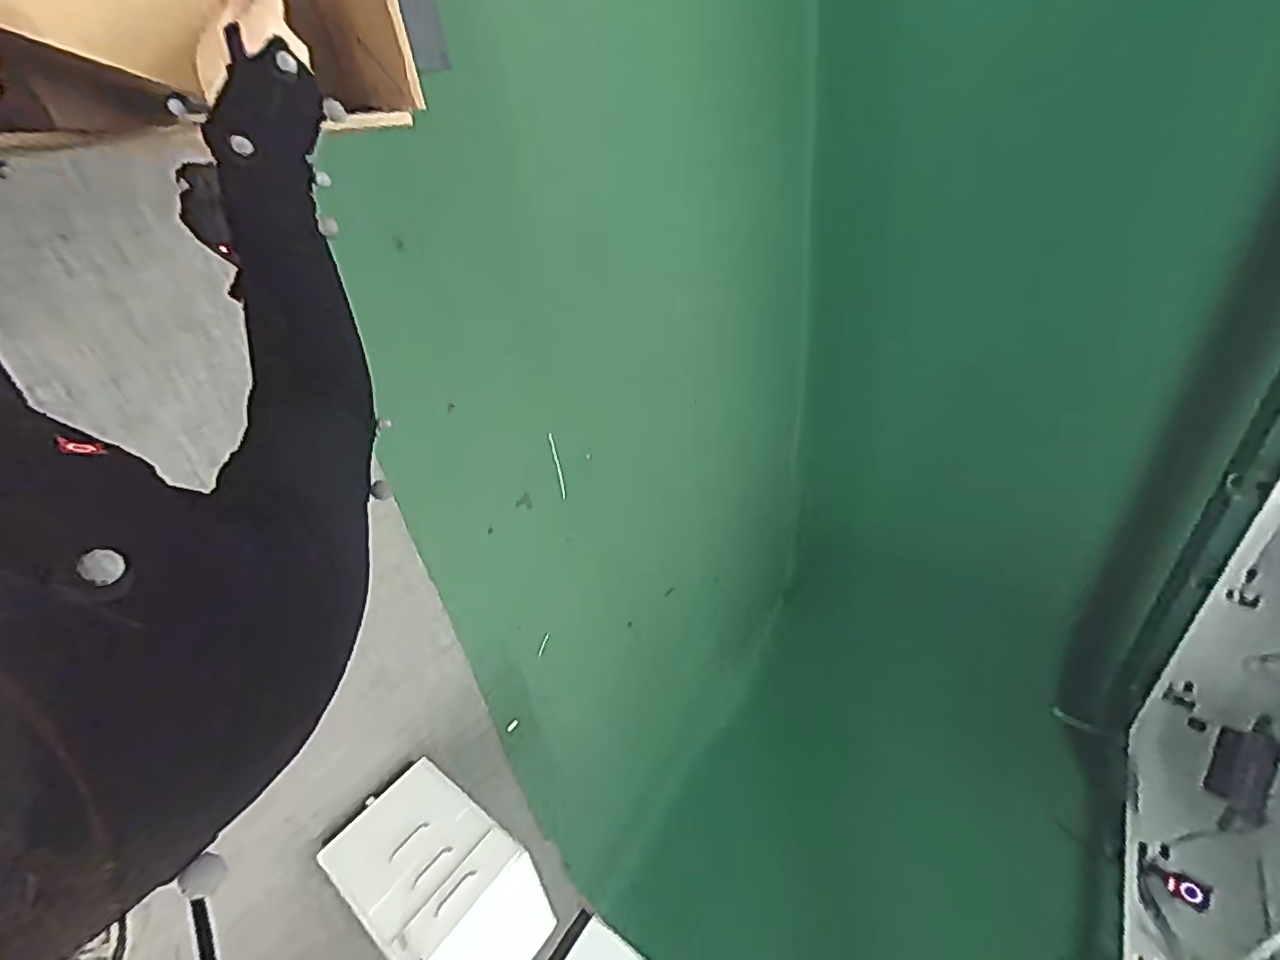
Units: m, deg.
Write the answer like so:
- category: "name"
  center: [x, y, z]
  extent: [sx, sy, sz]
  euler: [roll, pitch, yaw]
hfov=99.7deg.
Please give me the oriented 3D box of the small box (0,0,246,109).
- category: "small box"
  center: [-0.414, -0.392, 0.389]
  extent: [0.179, 0.176, 0.168]
  euler: [-11, 122, -50]
